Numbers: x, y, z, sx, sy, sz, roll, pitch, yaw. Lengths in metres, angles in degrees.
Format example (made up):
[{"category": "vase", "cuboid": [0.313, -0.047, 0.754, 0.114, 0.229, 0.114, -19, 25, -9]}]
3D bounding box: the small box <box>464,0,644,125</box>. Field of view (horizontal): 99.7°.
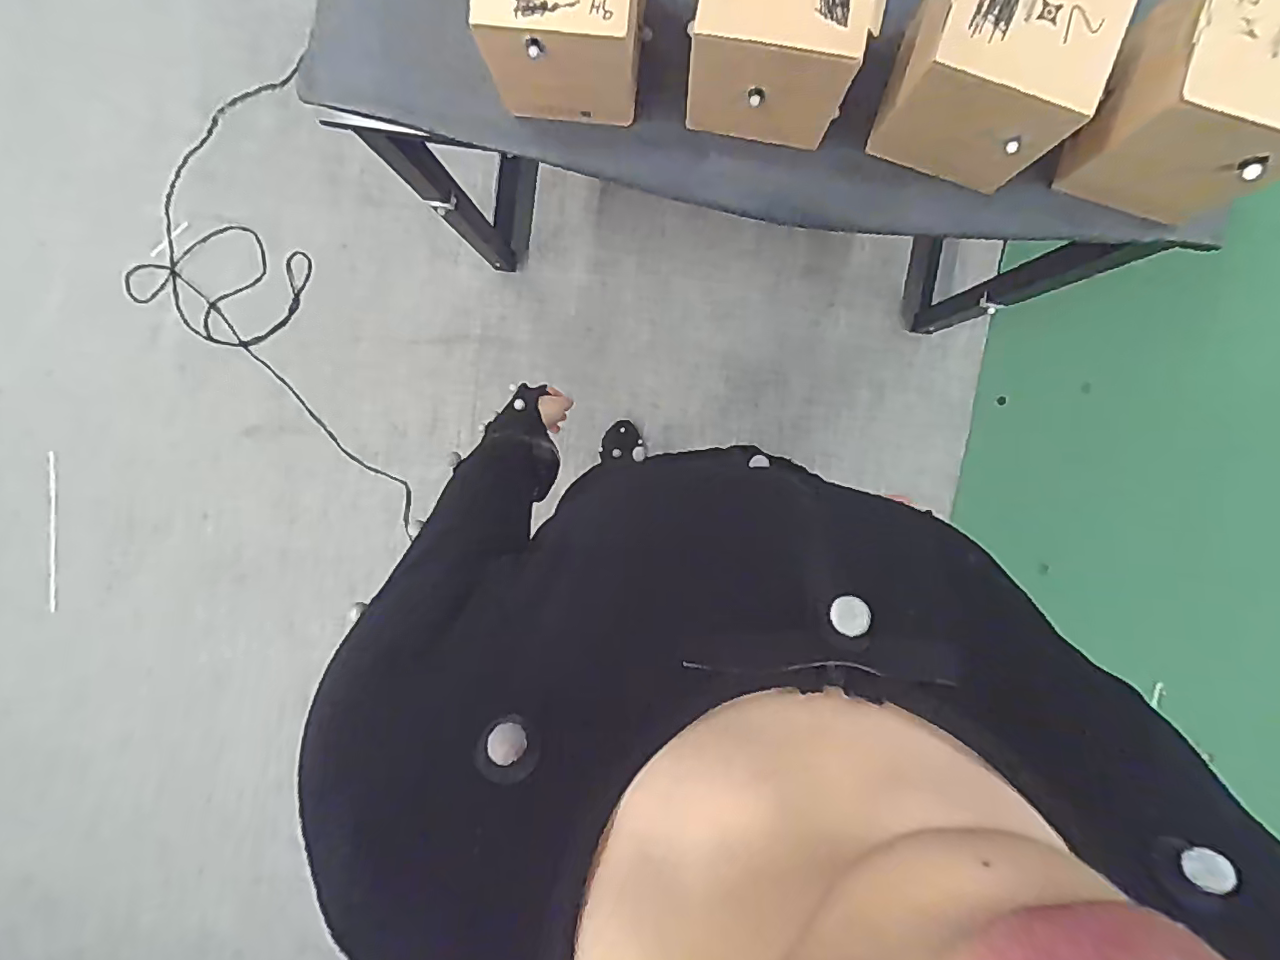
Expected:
[{"category": "small box", "cuboid": [-0.086, -0.553, 0.621, 0.168, 0.176, 0.179, 7, 95, 2]}]
